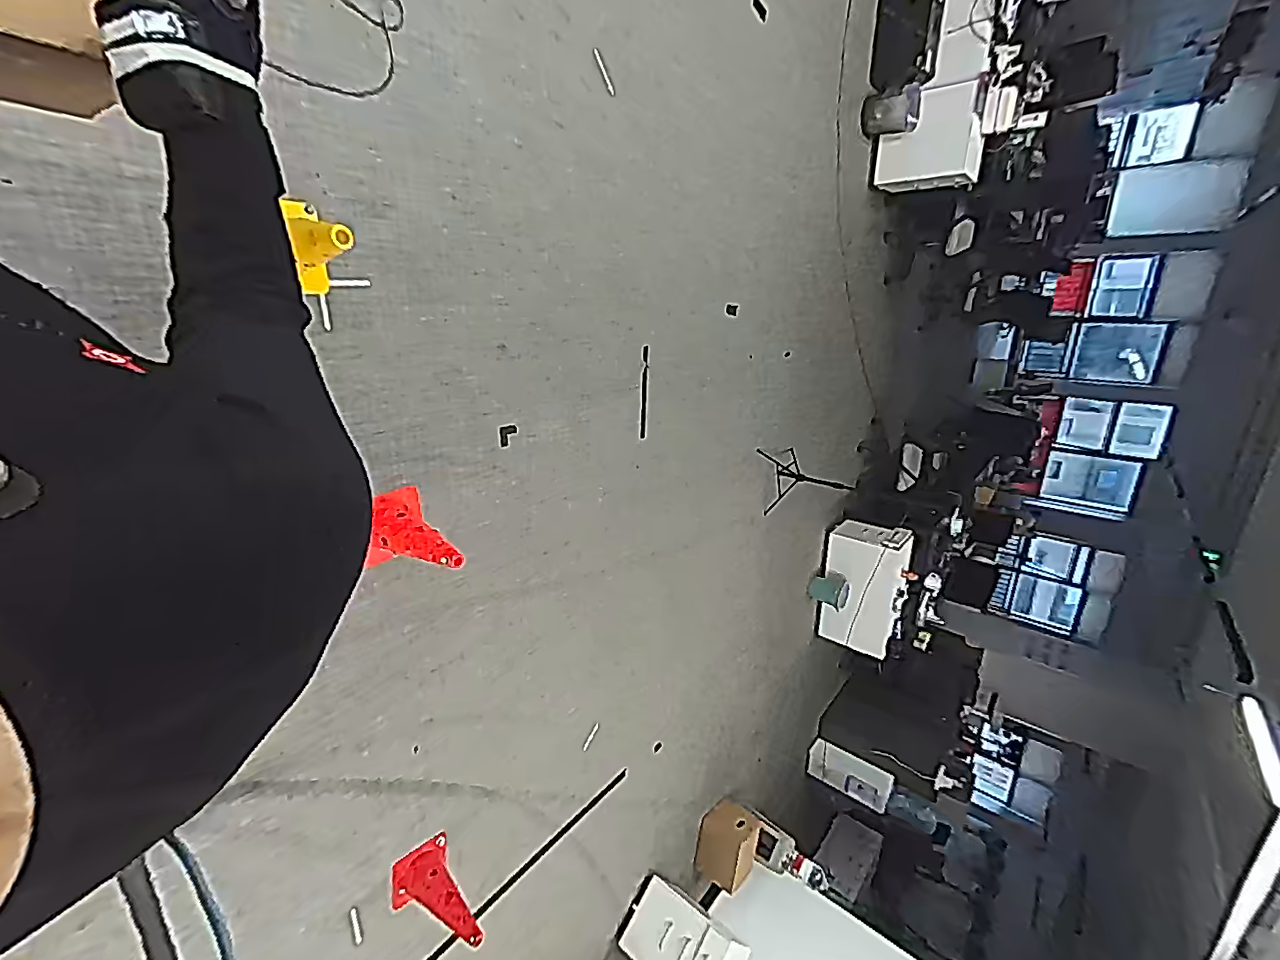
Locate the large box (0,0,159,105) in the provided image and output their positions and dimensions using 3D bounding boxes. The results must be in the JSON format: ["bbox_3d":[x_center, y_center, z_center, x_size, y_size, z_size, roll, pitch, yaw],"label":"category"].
[{"bbox_3d":[-0.562,-0.437,0.266,0.408,0.320,0.320,-17,121,-49],"label":"large box"}]

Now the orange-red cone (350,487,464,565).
[{"bbox_3d":[-0.596,0.163,1.461,0.198,0.360,0.199,-24,118,-47],"label":"orange-red cone"}]

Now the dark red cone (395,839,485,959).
[{"bbox_3d":[-0.638,1.420,1.793,0.201,0.394,0.202,-11,110,-48],"label":"dark red cone"}]
